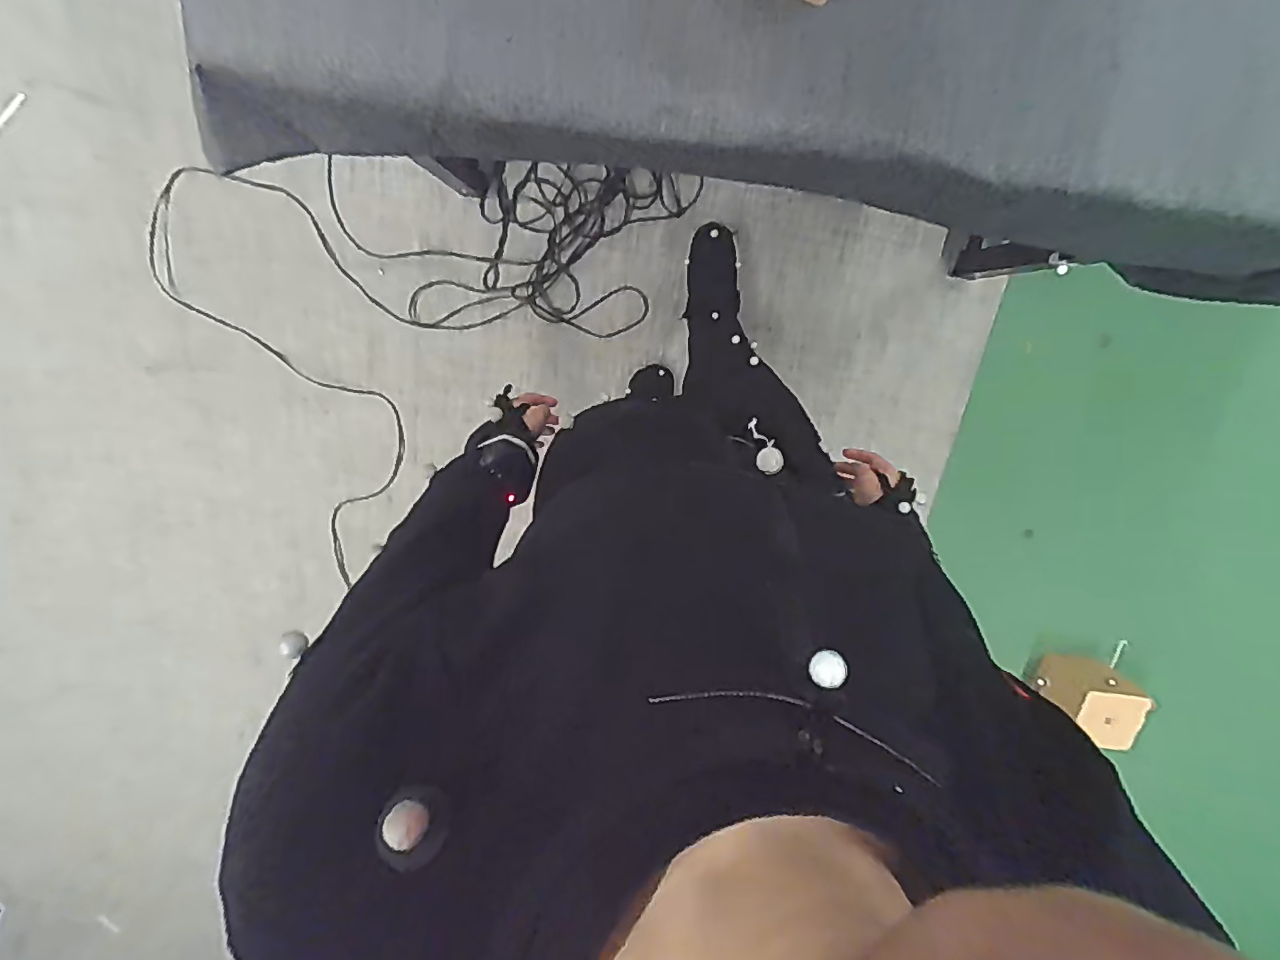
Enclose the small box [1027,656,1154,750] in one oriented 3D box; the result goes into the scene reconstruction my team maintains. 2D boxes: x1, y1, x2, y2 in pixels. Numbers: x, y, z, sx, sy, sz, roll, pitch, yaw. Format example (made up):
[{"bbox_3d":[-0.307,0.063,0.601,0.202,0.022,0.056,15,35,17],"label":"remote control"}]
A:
[{"bbox_3d":[1.218,0.603,1.475,0.179,0.176,0.168,7,105,-2],"label":"small box"}]
